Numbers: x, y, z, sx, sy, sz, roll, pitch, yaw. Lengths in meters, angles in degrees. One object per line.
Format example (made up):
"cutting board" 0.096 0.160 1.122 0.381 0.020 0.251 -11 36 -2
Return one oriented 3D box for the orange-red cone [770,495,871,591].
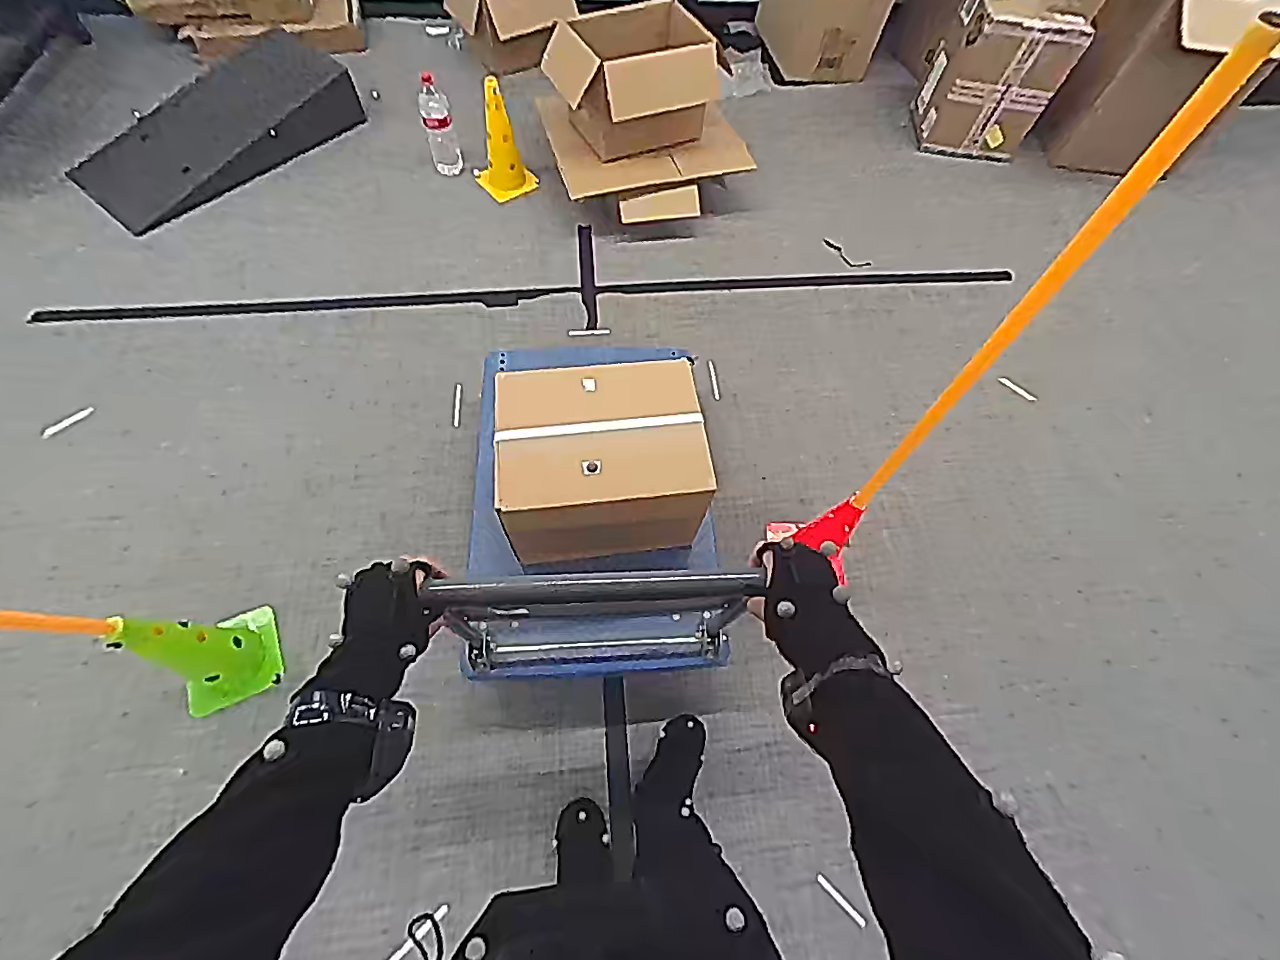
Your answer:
"orange-red cone" 0.465 0.125 1.304 0.199 0.360 0.198 2 63 -3
